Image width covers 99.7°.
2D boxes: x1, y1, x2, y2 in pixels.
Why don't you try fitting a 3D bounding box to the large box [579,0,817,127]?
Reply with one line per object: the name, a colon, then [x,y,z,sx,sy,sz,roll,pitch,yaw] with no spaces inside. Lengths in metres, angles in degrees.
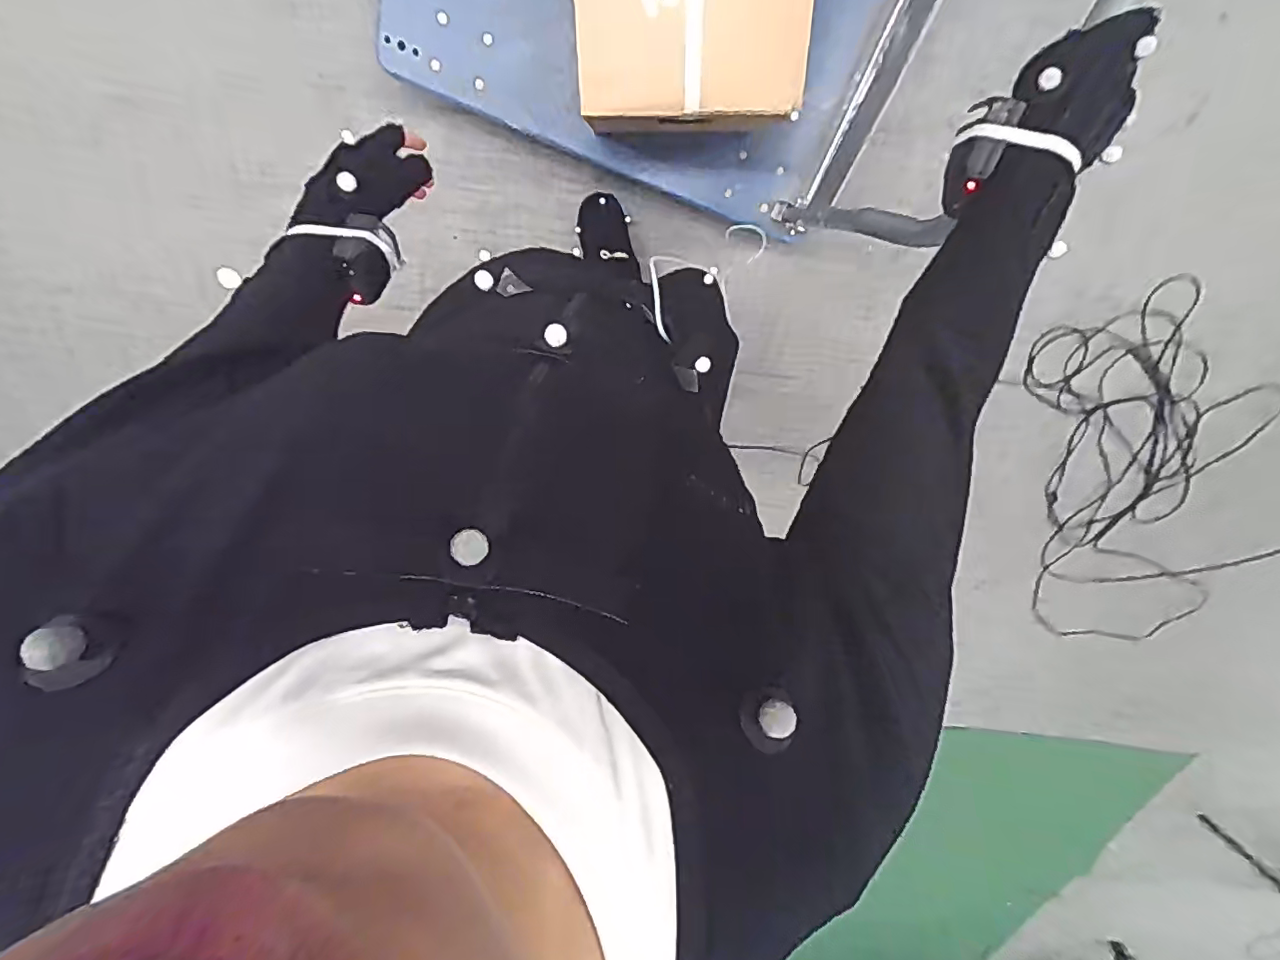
large box: [0.071,-0.765,0.790,0.320,0.320,0.408,-1,120,0]
